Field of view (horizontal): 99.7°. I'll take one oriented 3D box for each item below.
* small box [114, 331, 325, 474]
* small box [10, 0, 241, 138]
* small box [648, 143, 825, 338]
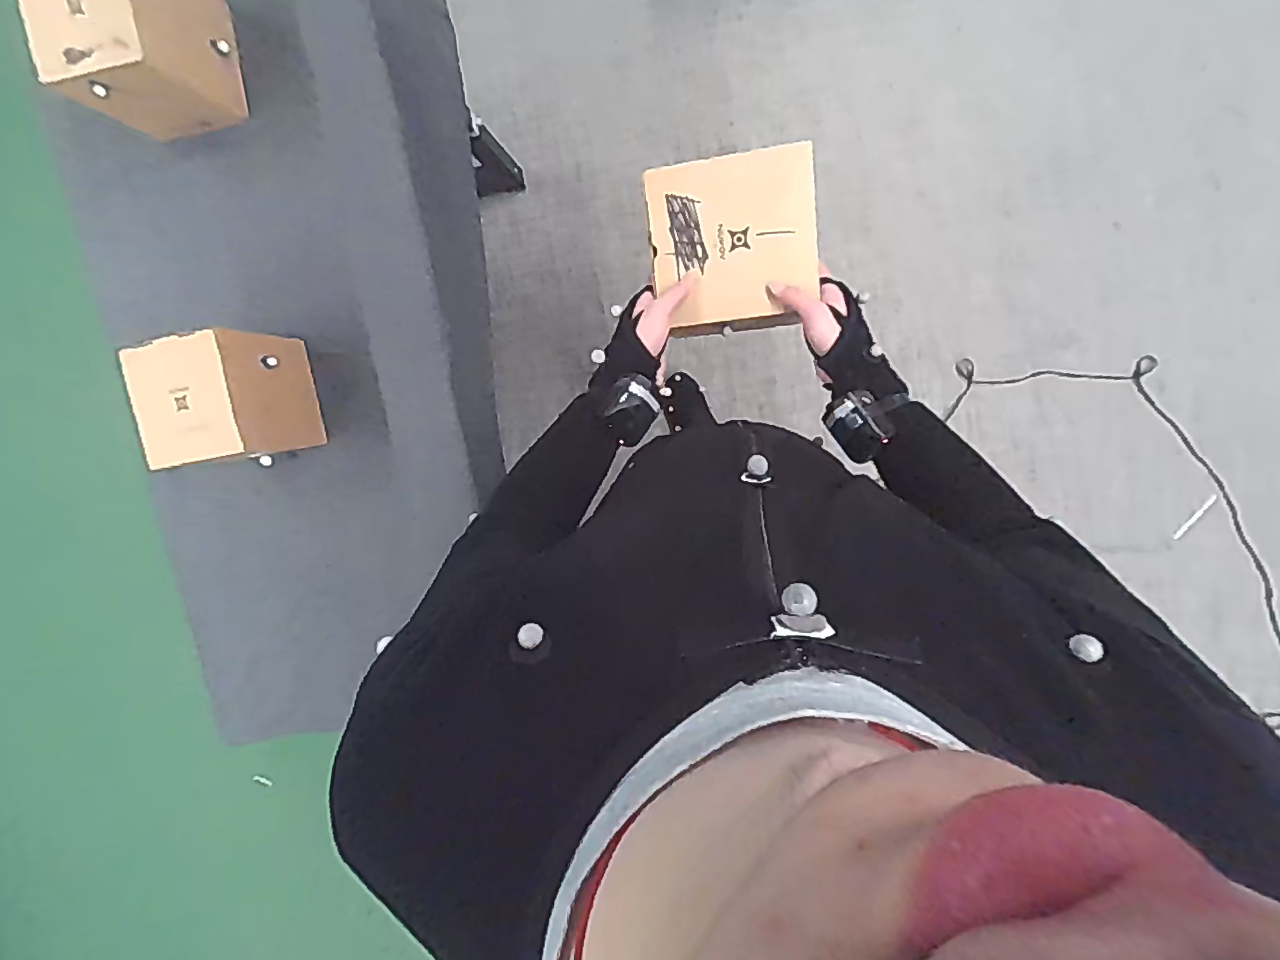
[{"bbox_3d":[-0.625,-0.116,0.826,0.168,0.176,0.179,-9,98,10],"label":"small box"},{"bbox_3d":[-0.712,-0.623,0.761,0.168,0.176,0.179,-5,97,8],"label":"small box"},{"bbox_3d":[0.112,-0.264,0.639,0.179,0.176,0.168,-4,101,9],"label":"small box"}]
